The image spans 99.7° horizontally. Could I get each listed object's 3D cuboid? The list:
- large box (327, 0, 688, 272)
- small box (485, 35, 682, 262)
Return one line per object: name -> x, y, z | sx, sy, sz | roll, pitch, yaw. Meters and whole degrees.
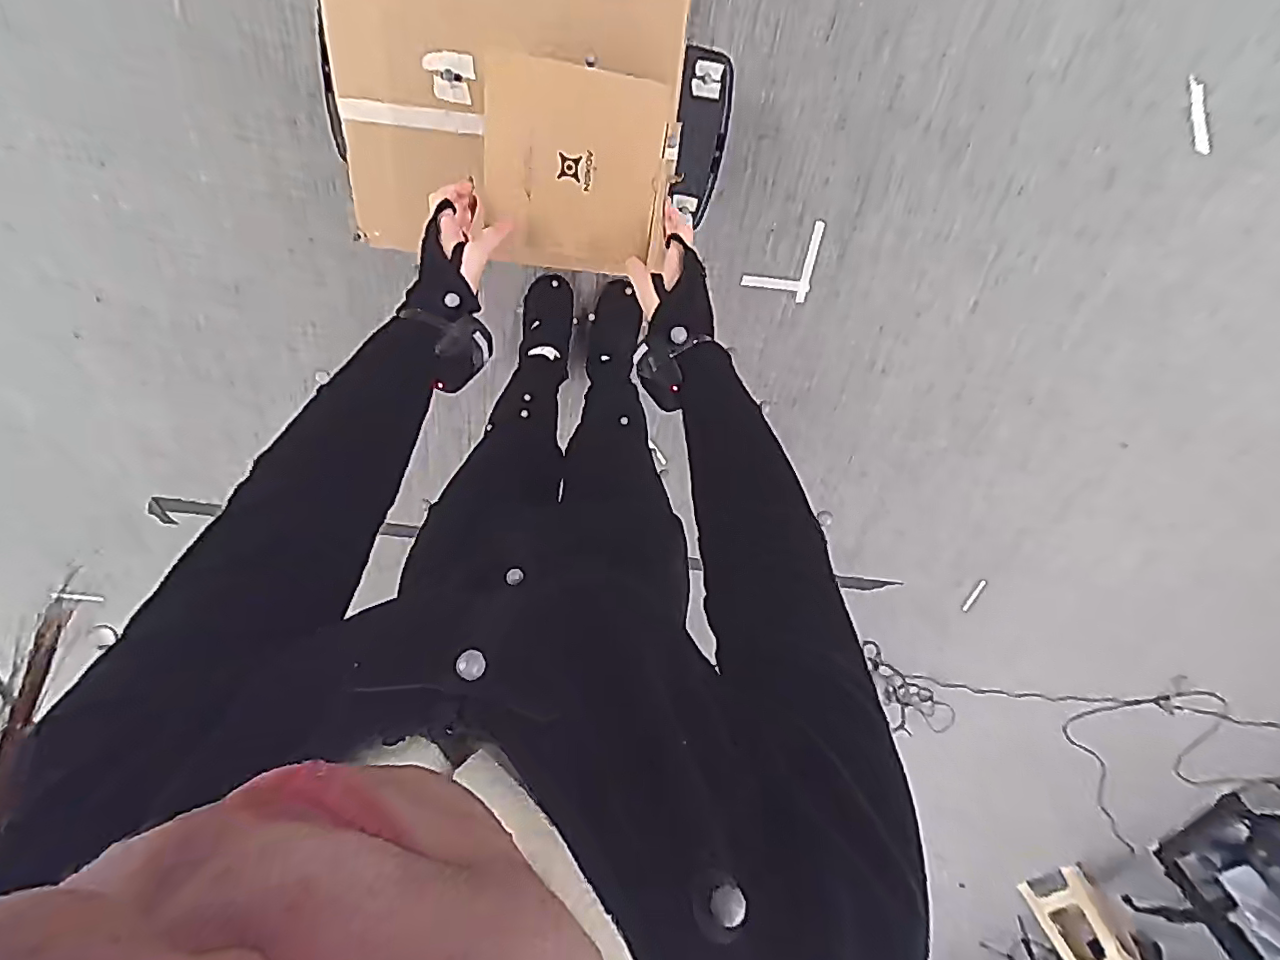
large box -> -0.156, -0.512, 0.778 | 0.408, 0.320, 0.320 | 5, 122, -4
small box -> -0.062, -0.355, 0.590 | 0.179, 0.176, 0.168 | 8, 123, -6
